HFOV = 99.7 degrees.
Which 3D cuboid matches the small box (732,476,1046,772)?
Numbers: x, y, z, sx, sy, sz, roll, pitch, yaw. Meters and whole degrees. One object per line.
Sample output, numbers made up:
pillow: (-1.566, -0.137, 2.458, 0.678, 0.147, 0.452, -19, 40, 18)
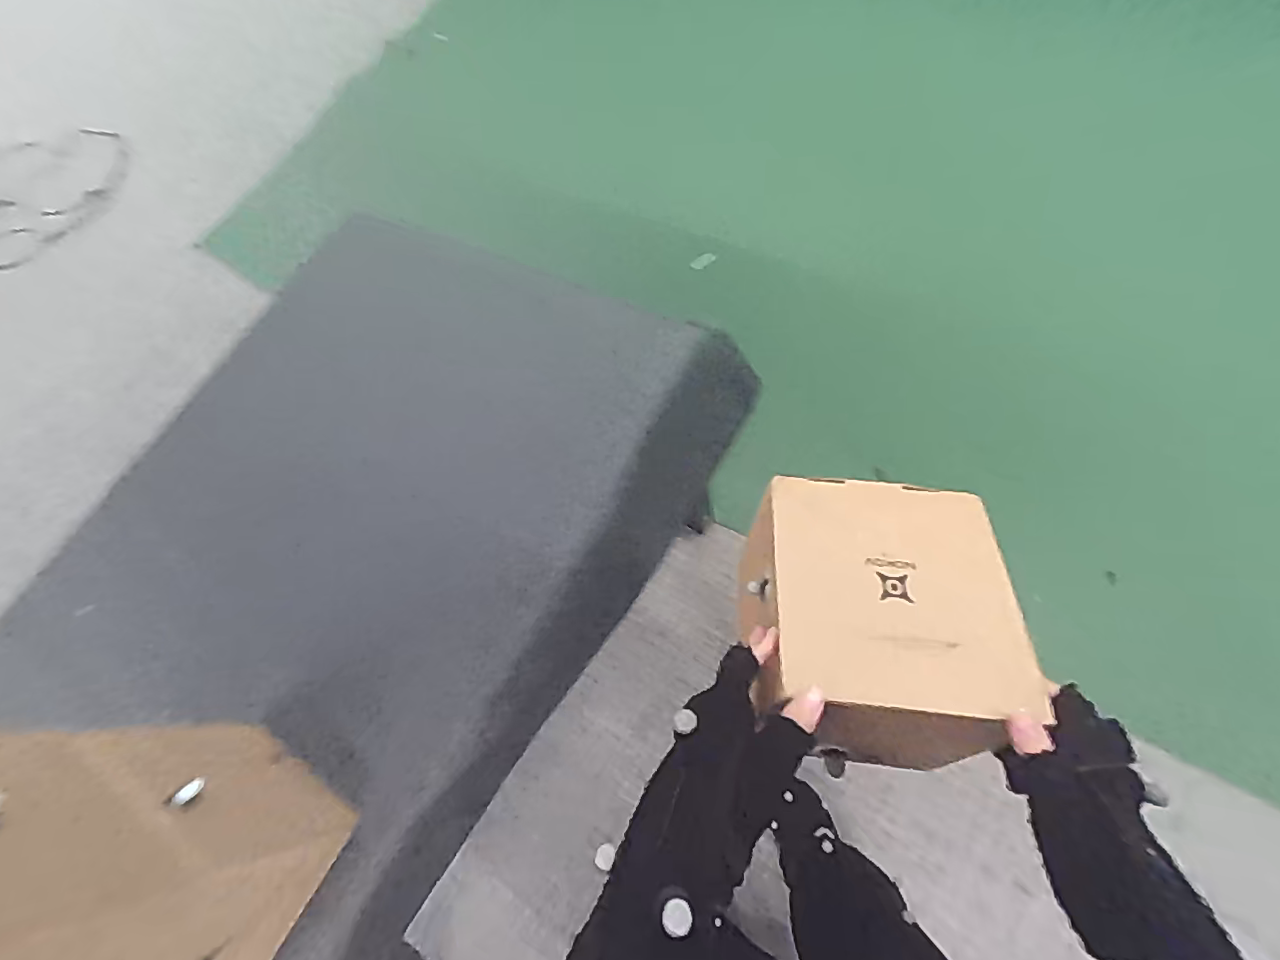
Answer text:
small box: (0.168, 0.120, 0.439, 0.168, 0.176, 0.179, 5, 55, 3)
